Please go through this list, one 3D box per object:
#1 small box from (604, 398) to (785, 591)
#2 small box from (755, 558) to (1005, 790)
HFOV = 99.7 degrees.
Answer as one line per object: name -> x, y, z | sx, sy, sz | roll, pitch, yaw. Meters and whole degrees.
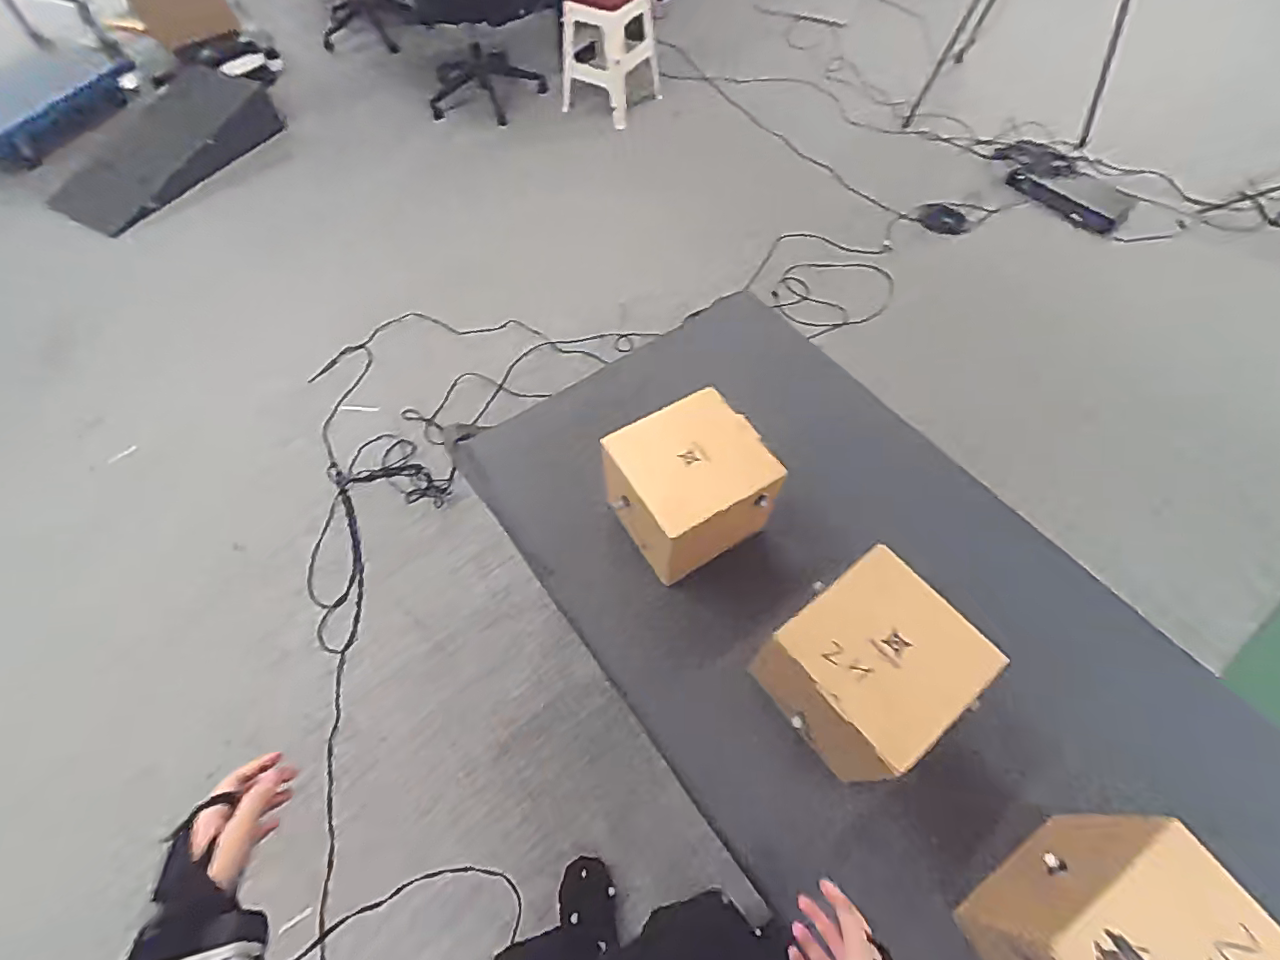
small box -> 0.068, 0.026, 0.748 | 0.179, 0.176, 0.168 | -27, 63, -17
small box -> 0.257, 0.226, 0.625 | 0.179, 0.176, 0.168 | -33, 64, -18
